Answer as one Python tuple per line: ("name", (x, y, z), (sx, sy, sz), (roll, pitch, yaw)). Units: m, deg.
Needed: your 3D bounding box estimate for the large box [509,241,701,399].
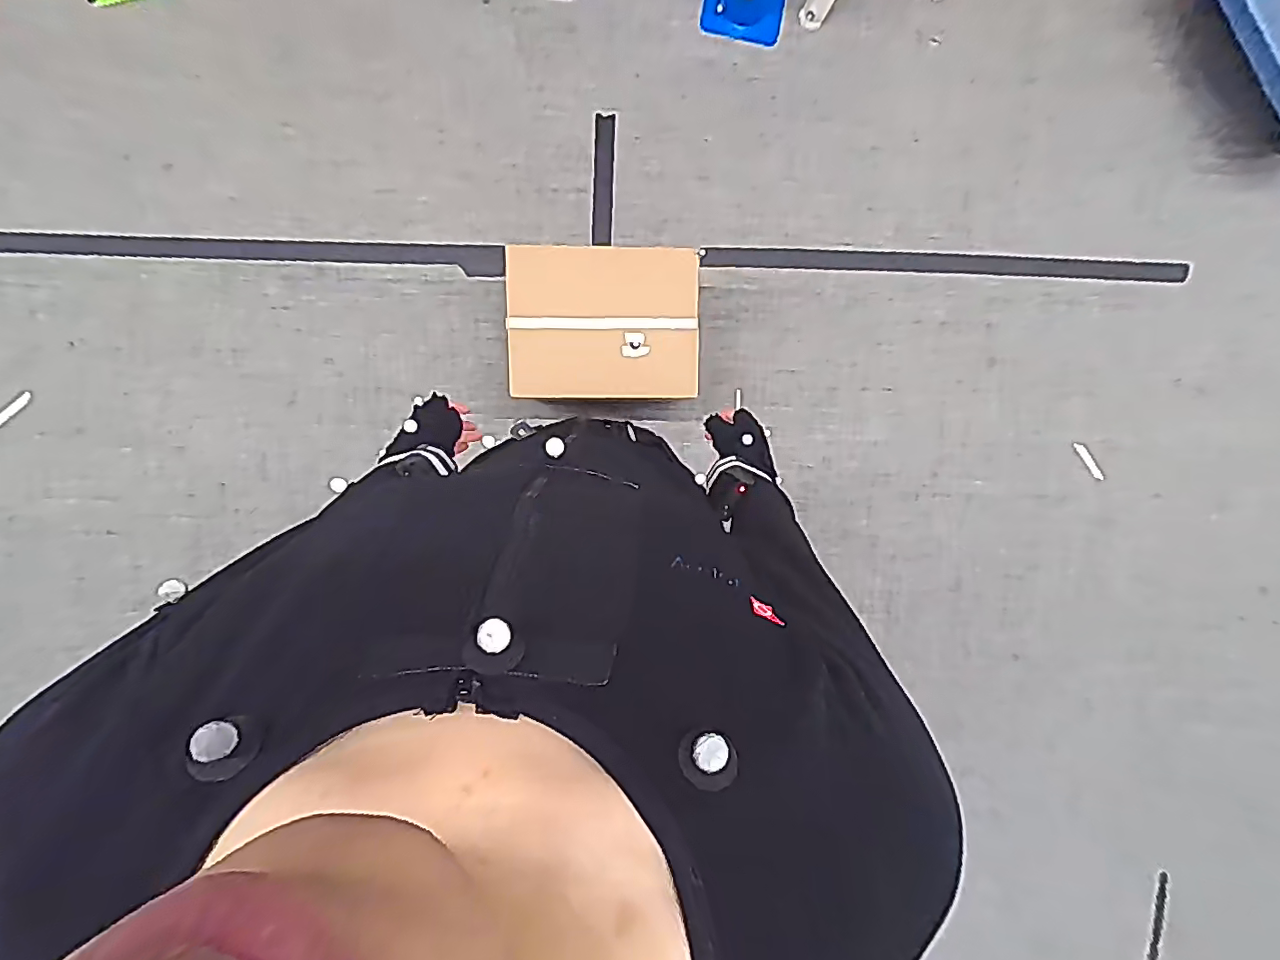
("large box", (-0.080, -0.358, 1.286), (0.408, 0.320, 0.320), (-1, 98, -4))
